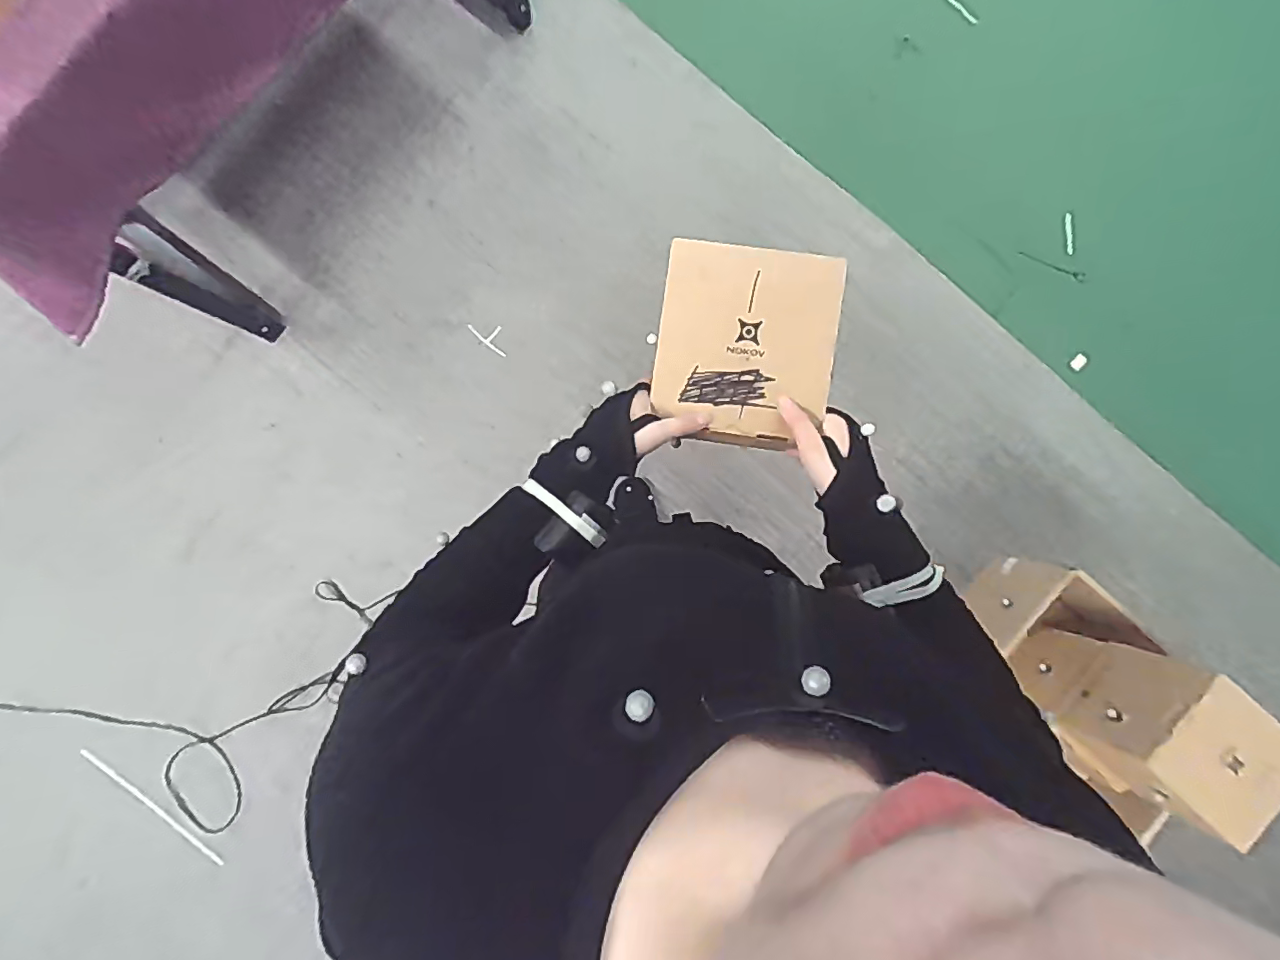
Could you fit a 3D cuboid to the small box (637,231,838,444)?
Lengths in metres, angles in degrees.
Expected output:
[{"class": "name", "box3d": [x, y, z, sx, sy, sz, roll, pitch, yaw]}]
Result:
[{"class": "small box", "box3d": [0.095, -0.137, 0.583, 0.168, 0.176, 0.179, 8, 90, 3]}]

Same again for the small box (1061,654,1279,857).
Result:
[{"class": "small box", "box3d": [0.779, 0.377, 0.784, 0.179, 0.176, 0.168, 43, 88, 0]}]
